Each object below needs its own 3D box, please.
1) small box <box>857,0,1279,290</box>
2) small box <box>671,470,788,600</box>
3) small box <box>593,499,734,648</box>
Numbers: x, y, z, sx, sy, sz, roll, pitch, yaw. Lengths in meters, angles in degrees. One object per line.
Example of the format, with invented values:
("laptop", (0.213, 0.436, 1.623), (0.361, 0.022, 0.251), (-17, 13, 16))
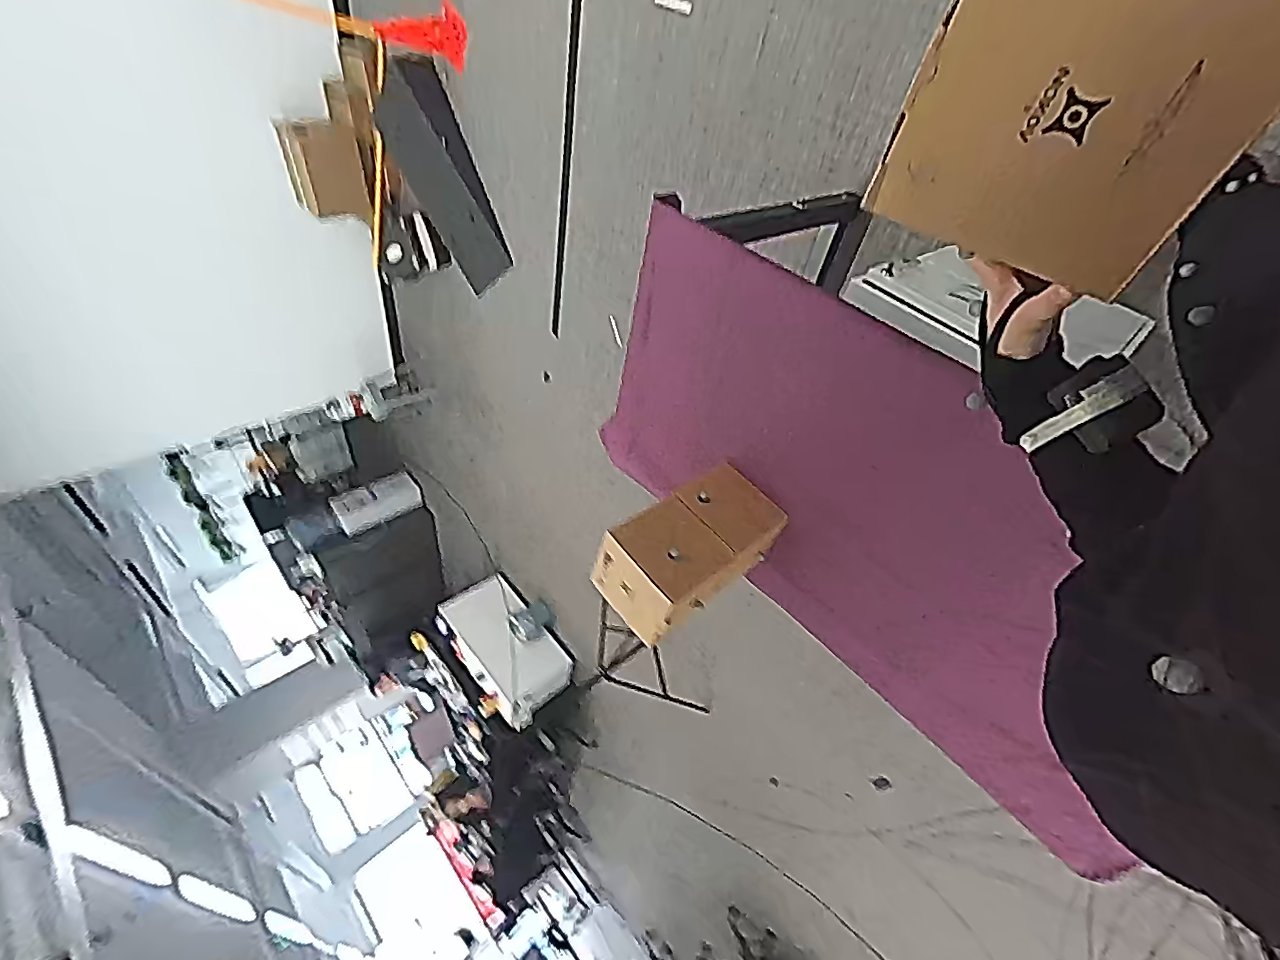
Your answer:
("small box", (0.282, -0.260, 0.363), (0.179, 0.176, 0.168), (31, 136, 12))
("small box", (0.161, 0.100, 1.090), (0.179, 0.176, 0.168), (44, 141, 23))
("small box", (0.043, 0.166, 0.997), (0.179, 0.176, 0.168), (44, 141, 22))
